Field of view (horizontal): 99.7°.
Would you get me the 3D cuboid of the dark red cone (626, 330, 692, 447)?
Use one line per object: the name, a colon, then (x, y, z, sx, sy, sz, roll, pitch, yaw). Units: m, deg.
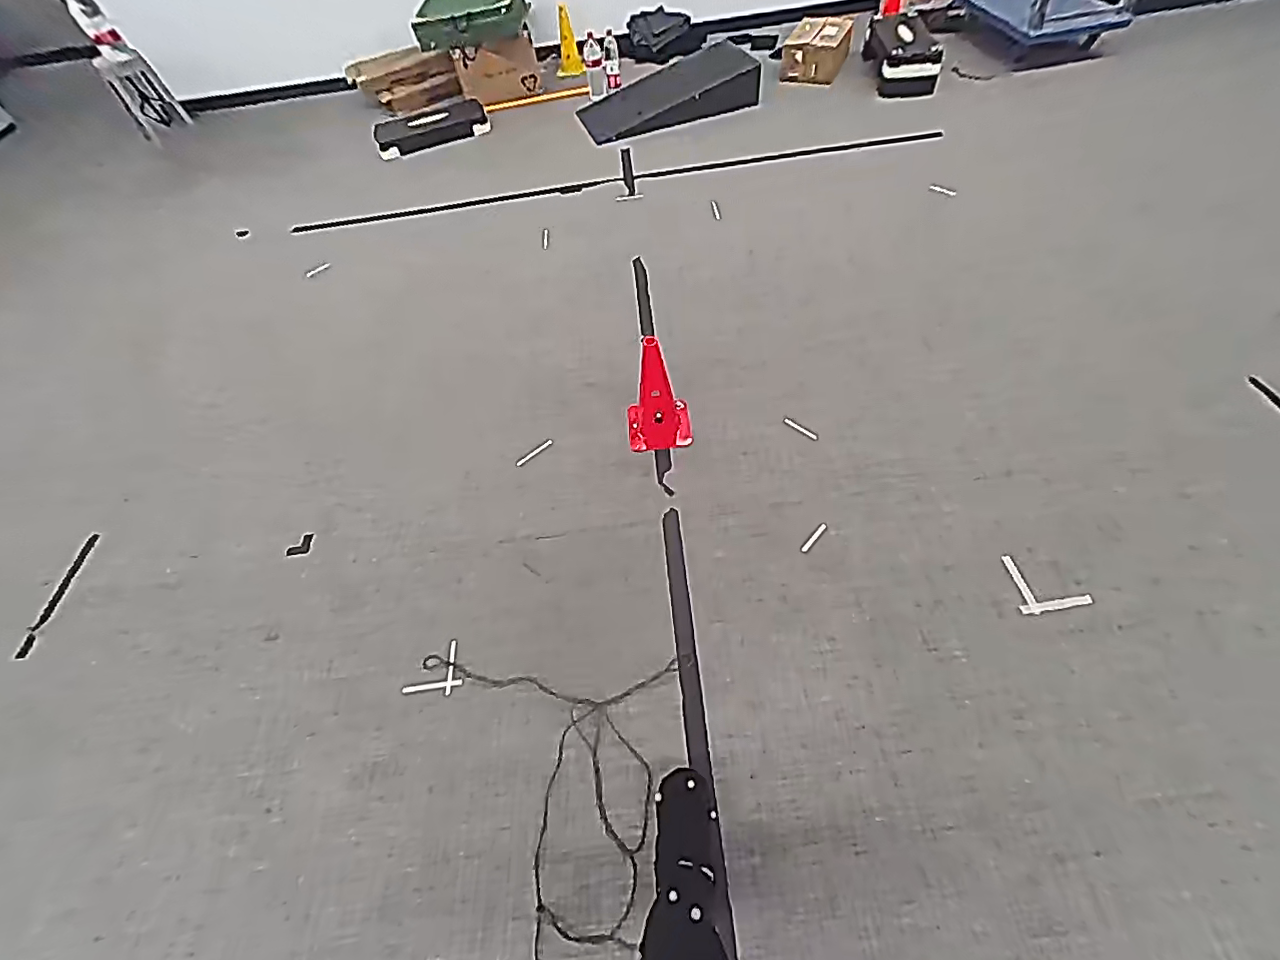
dark red cone: (0.041, -0.285, 1.618, 0.201, 0.394, 0.202, -8, 54, 2)
